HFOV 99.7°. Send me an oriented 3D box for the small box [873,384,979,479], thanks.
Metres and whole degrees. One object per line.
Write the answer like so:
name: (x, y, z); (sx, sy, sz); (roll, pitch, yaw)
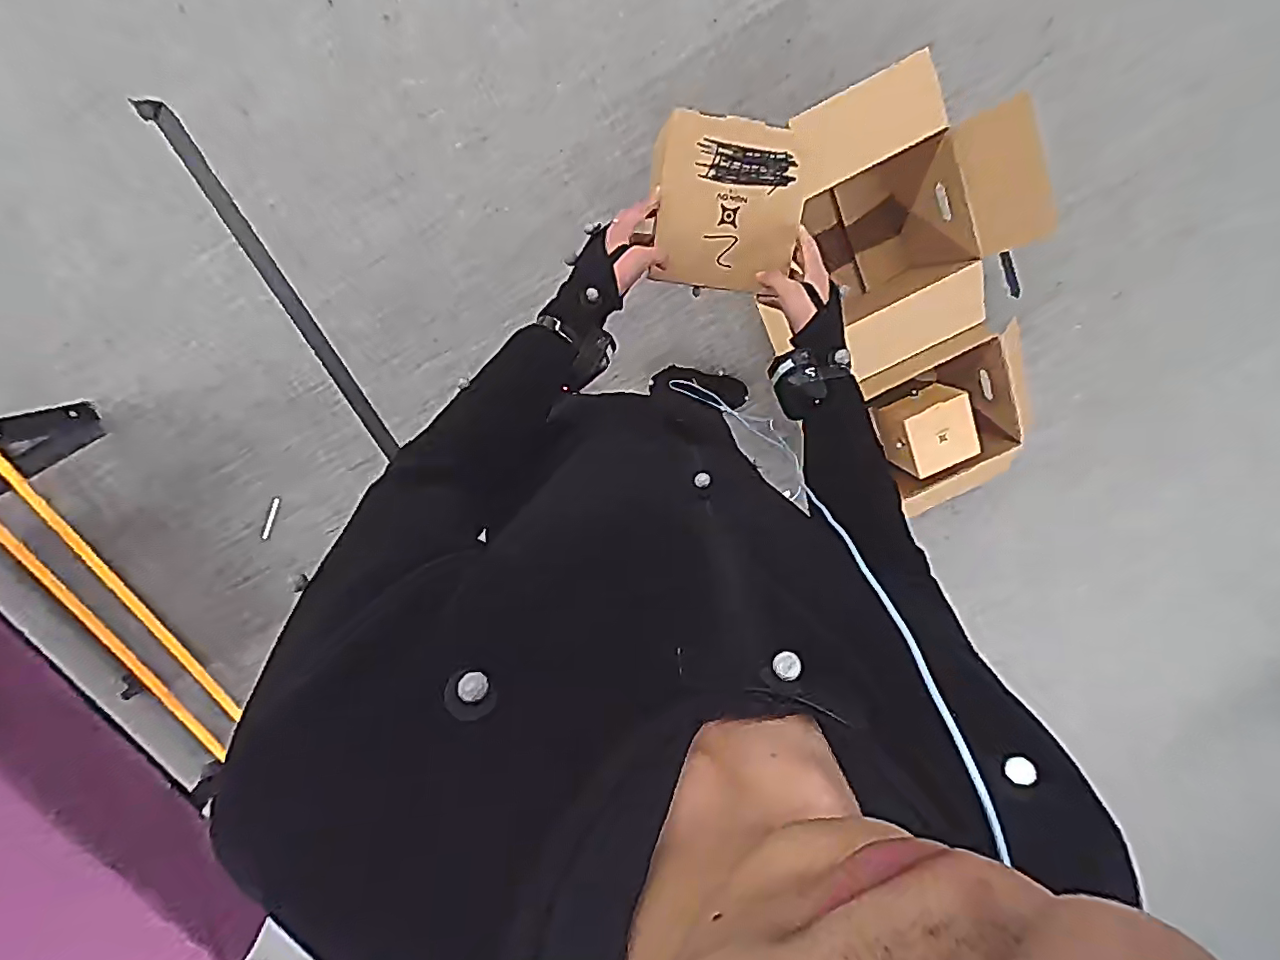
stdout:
small box: (0.745, -0.132, 1.420); (0.168, 0.176, 0.179); (-25, 109, 4)
